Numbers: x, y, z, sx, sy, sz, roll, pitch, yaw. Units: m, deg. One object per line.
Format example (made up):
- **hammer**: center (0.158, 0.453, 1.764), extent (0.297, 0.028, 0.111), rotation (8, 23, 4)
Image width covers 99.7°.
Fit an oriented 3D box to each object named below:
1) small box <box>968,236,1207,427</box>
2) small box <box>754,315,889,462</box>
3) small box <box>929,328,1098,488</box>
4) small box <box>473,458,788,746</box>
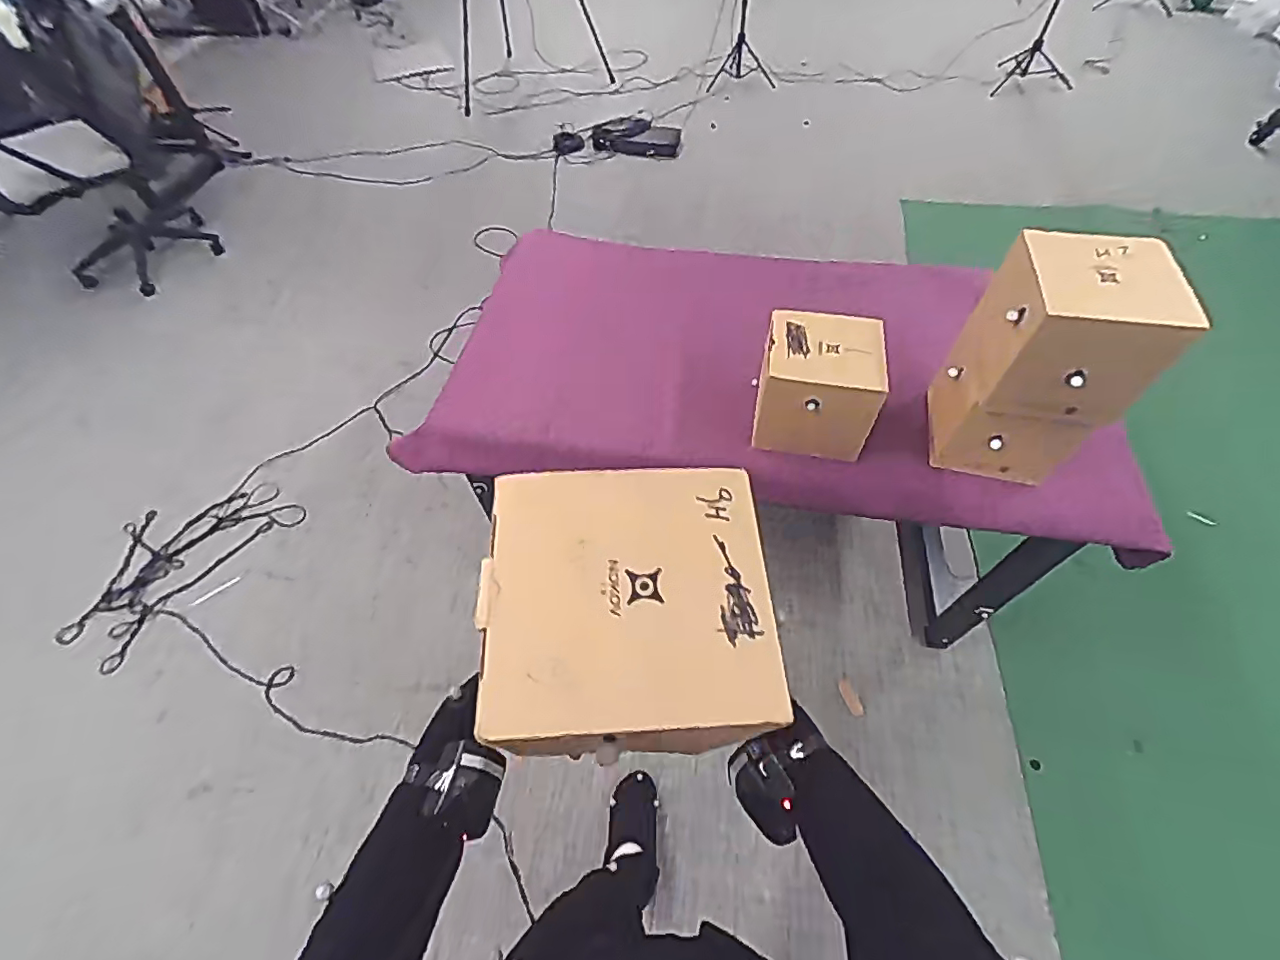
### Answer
- **small box**: center (0.564, -0.192, 0.714), extent (0.168, 0.176, 0.179), rotation (9, 56, 9)
- **small box**: center (0.290, -0.147, 0.894), extent (0.179, 0.176, 0.168), rotation (9, 55, 8)
- **small box**: center (0.577, -0.110, 0.858), extent (0.168, 0.176, 0.179), rotation (12, 56, 11)
- **small box**: center (-0.010, 0.098, 0.401), extent (0.179, 0.176, 0.168), rotation (-1, 60, -4)
